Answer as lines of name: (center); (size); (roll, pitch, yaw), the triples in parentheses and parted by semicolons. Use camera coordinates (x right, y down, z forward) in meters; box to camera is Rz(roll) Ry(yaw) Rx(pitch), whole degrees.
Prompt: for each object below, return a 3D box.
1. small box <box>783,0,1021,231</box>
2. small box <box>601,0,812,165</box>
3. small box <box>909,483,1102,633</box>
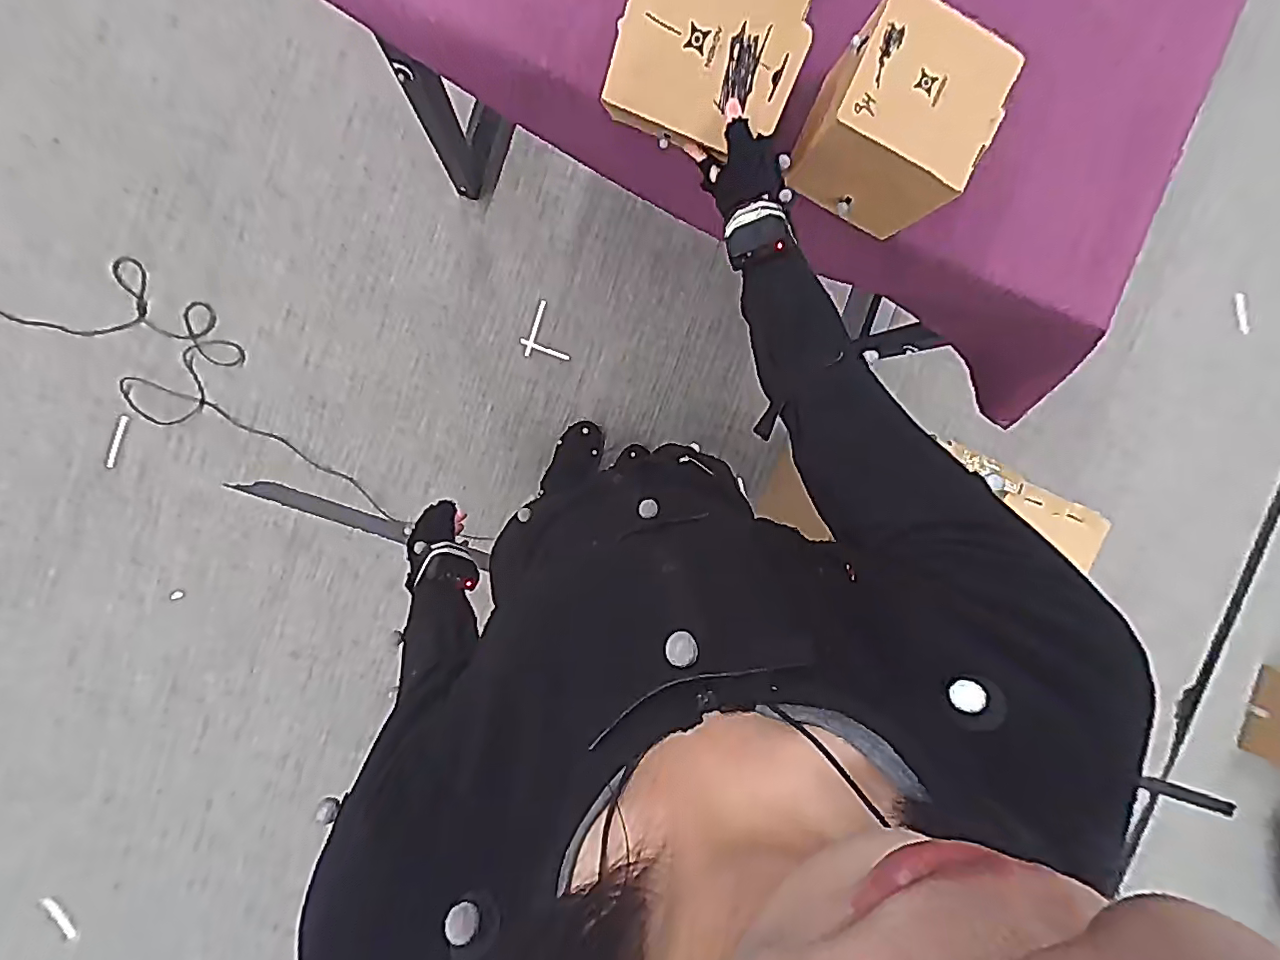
small box: (0.316, -0.445, 0.685); (0.179, 0.176, 0.168); (24, 92, -9)
small box: (0.070, -0.488, 0.631); (0.179, 0.176, 0.168); (20, 116, -6)
small box: (0.576, 0.114, 0.878); (0.168, 0.176, 0.179); (20, 95, -5)
